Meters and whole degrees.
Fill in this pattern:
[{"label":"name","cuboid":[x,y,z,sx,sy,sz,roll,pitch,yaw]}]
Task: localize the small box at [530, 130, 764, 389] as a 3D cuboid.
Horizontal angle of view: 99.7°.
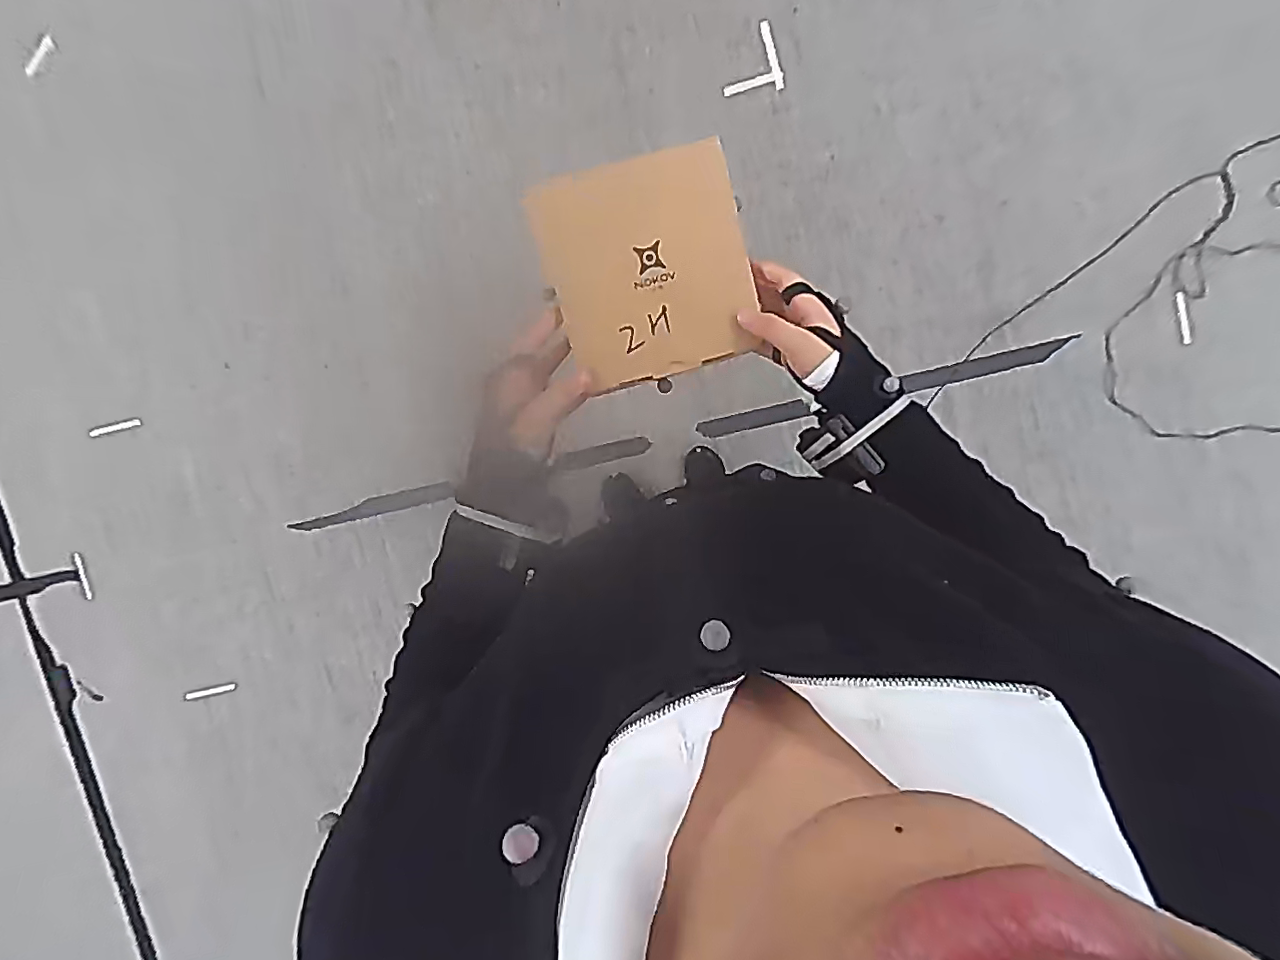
[{"label":"small box","cuboid":[0.003,-0.195,0.531,0.168,0.176,0.179,-16,99,-1]}]
